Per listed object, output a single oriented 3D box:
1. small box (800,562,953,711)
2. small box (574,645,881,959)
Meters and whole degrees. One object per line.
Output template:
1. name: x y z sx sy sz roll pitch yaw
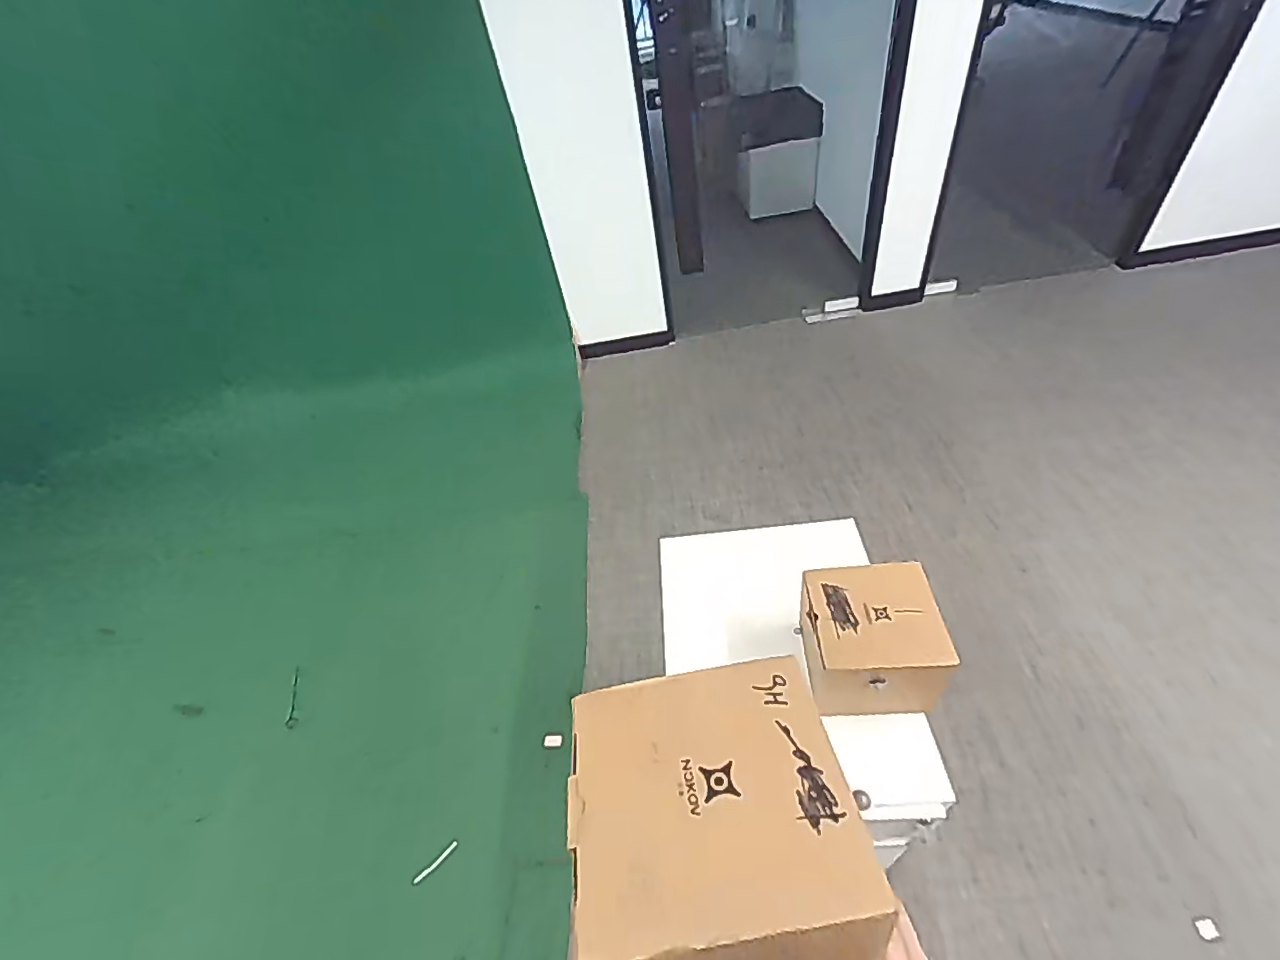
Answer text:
1. small box: 0.349 0.246 0.839 0.179 0.176 0.168 -4 46 8
2. small box: 0.055 0.255 0.405 0.179 0.176 0.168 -10 36 0
